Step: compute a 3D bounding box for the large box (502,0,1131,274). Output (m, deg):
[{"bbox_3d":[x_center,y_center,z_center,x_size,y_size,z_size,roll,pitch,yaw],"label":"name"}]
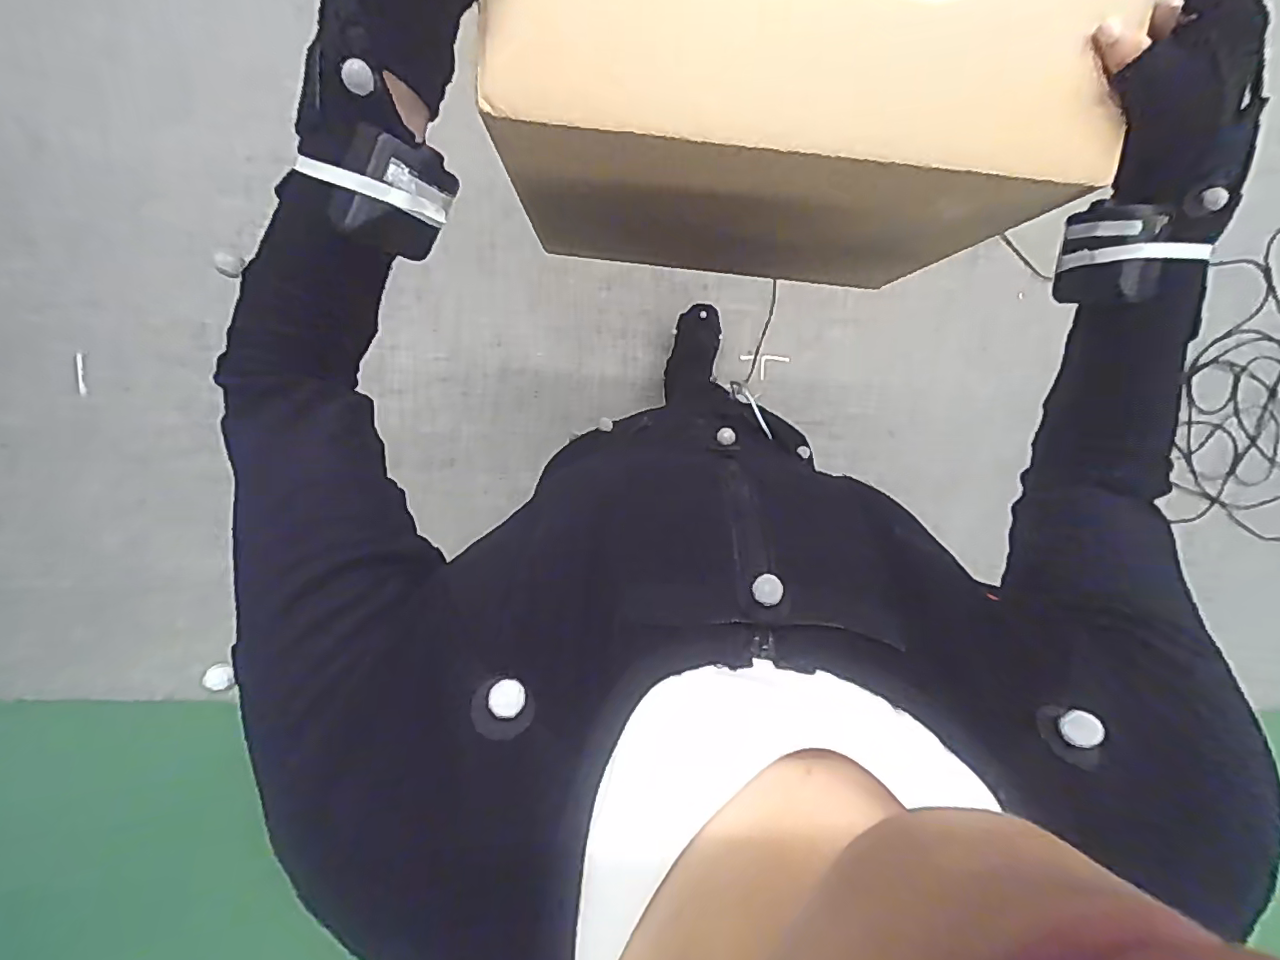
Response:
[{"bbox_3d":[0.110,-0.389,0.475,0.408,0.320,0.320,4,98,-4],"label":"large box"}]
